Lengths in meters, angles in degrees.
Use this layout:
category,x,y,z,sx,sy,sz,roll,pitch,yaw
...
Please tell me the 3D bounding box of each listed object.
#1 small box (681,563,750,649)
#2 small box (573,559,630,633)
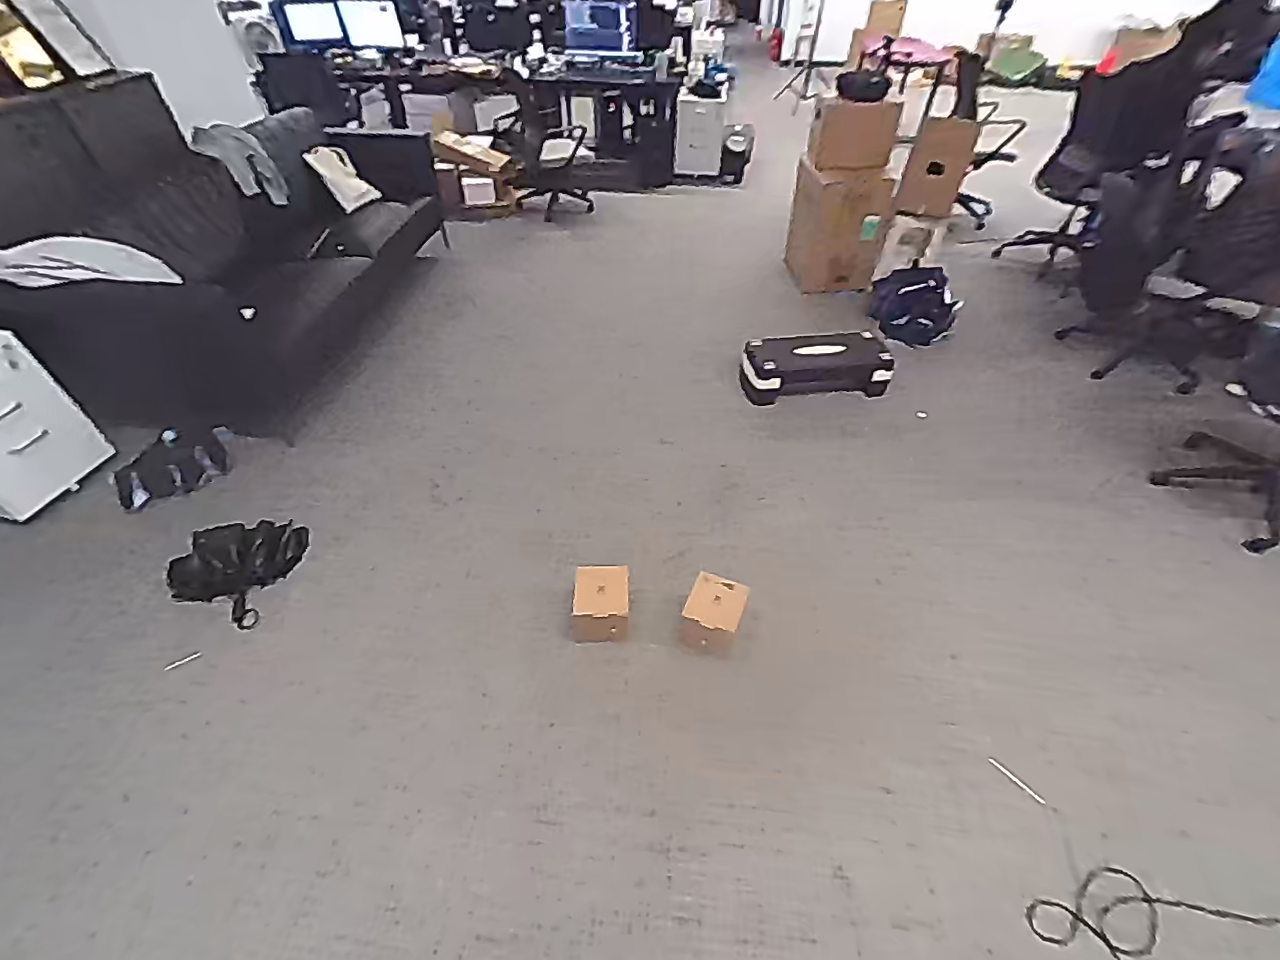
category,x,y,z,sx,sy,sz,roll,pitch,yaw
small box,0.231,0.393,1.670,0.168,0.176,0.179,16,49,17
small box,-0.116,0.369,1.703,0.168,0.176,0.179,-1,45,-2
